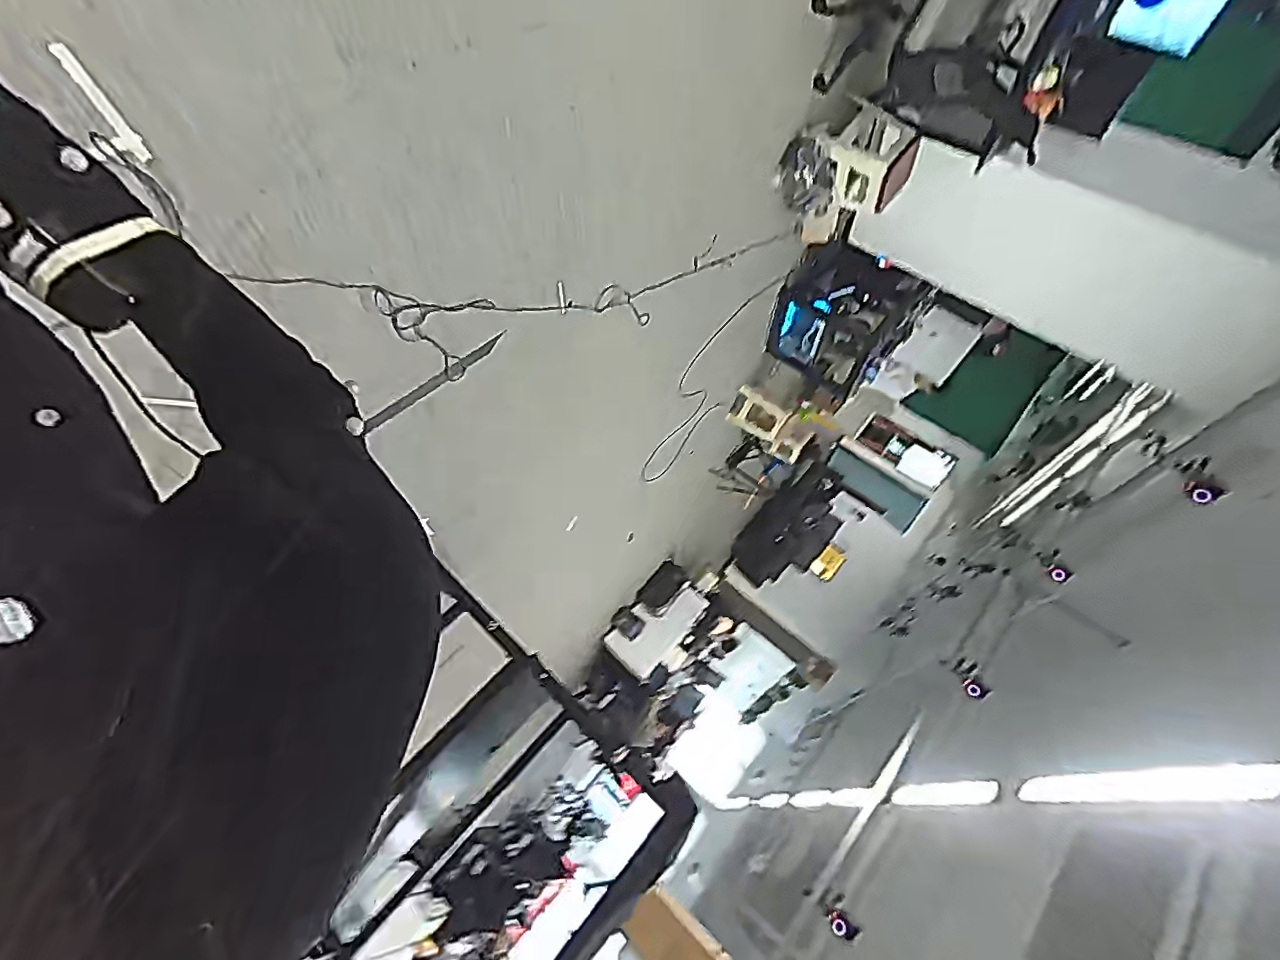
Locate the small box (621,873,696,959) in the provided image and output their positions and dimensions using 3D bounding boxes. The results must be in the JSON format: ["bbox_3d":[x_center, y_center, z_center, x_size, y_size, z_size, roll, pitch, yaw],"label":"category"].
[{"bbox_3d":[0.055,1.364,1.668,0.168,0.176,0.179,-45,159,-19],"label":"small box"}]

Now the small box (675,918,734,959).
[{"bbox_3d":[0.177,1.462,1.616,0.168,0.176,0.179,-46,160,-20],"label":"small box"}]
